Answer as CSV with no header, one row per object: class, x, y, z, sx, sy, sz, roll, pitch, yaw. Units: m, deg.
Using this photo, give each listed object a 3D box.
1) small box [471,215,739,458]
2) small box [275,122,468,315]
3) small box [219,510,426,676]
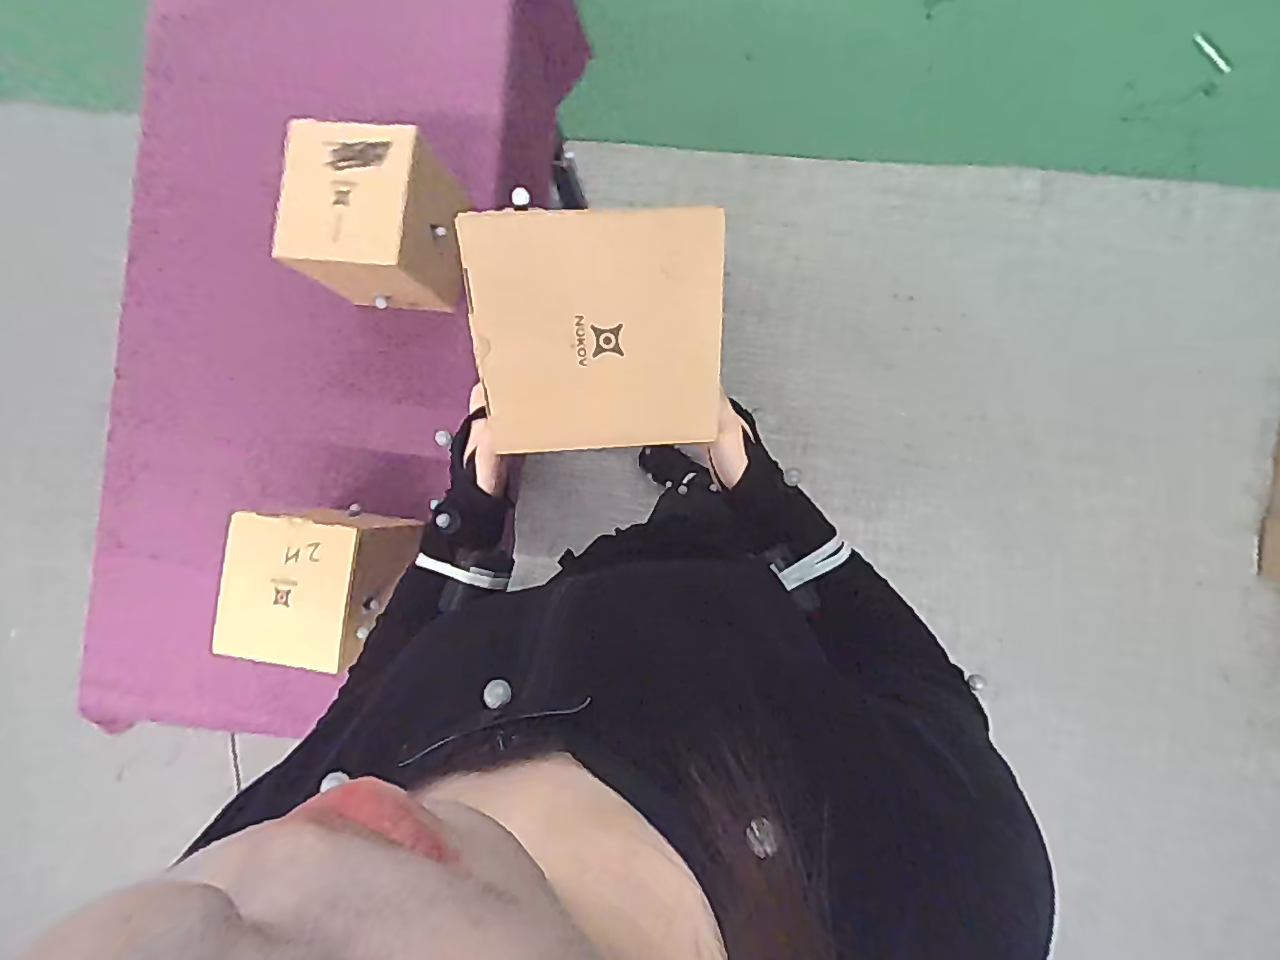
small box,-0.027,-0.129,0.452,0.179,0.176,0.168,-3,116,-3
small box,-0.350,-0.345,0.738,0.168,0.176,0.179,7,89,7
small box,-0.410,0.138,0.725,0.168,0.176,0.179,7,88,6
